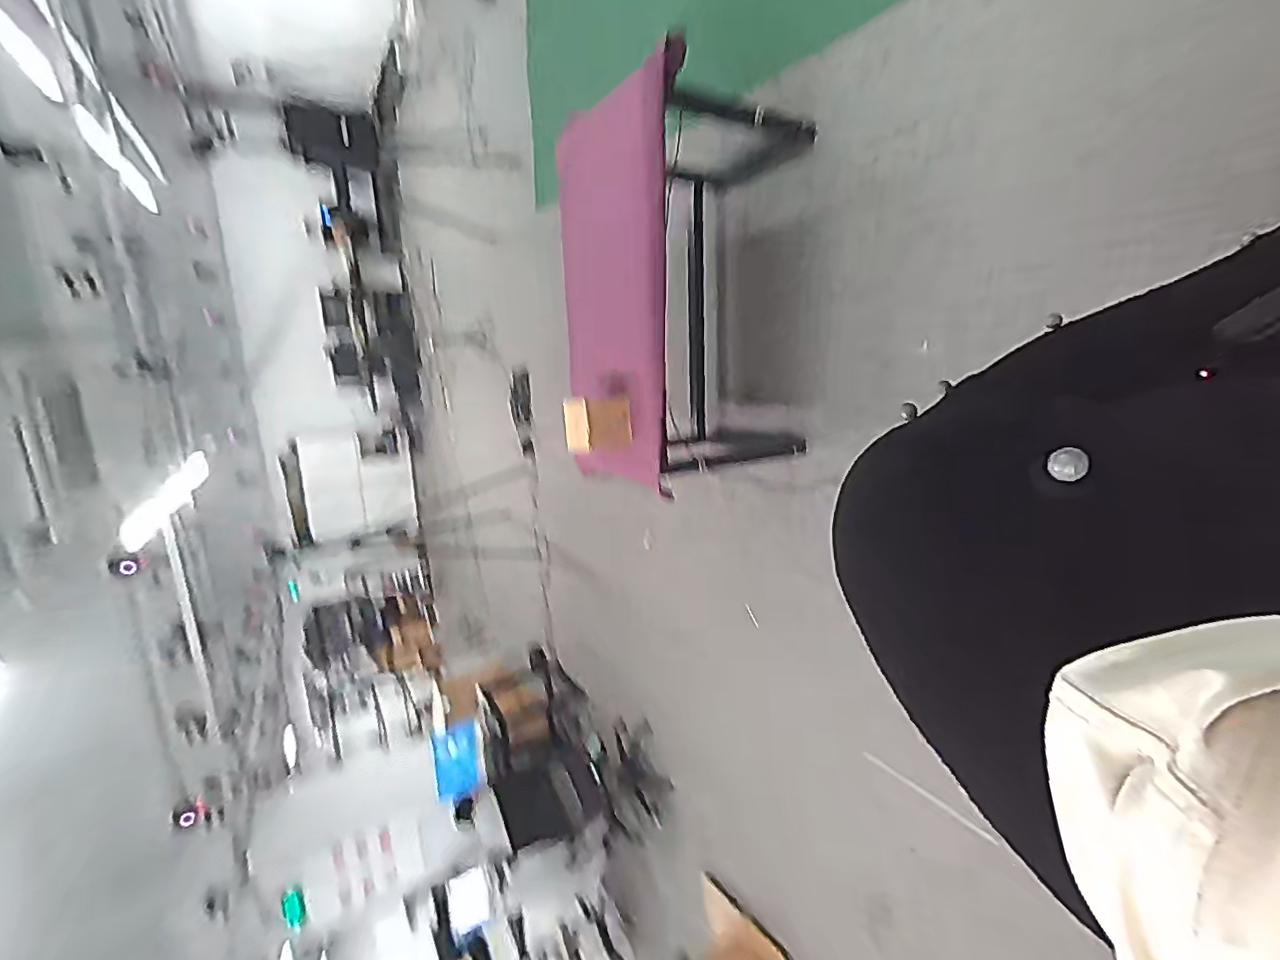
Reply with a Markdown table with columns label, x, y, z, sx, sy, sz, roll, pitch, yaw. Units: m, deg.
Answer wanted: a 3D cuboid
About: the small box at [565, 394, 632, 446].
| label | x | y | z | sx | sy | sz | roll | pitch | yaw |
| --- | --- | --- | --- | --- | --- | --- | --- | --- | --- |
| small box | -0.143 | -0.208 | 1.855 | 0.179 | 0.176 | 0.168 | 9 | 105 | 57 |
